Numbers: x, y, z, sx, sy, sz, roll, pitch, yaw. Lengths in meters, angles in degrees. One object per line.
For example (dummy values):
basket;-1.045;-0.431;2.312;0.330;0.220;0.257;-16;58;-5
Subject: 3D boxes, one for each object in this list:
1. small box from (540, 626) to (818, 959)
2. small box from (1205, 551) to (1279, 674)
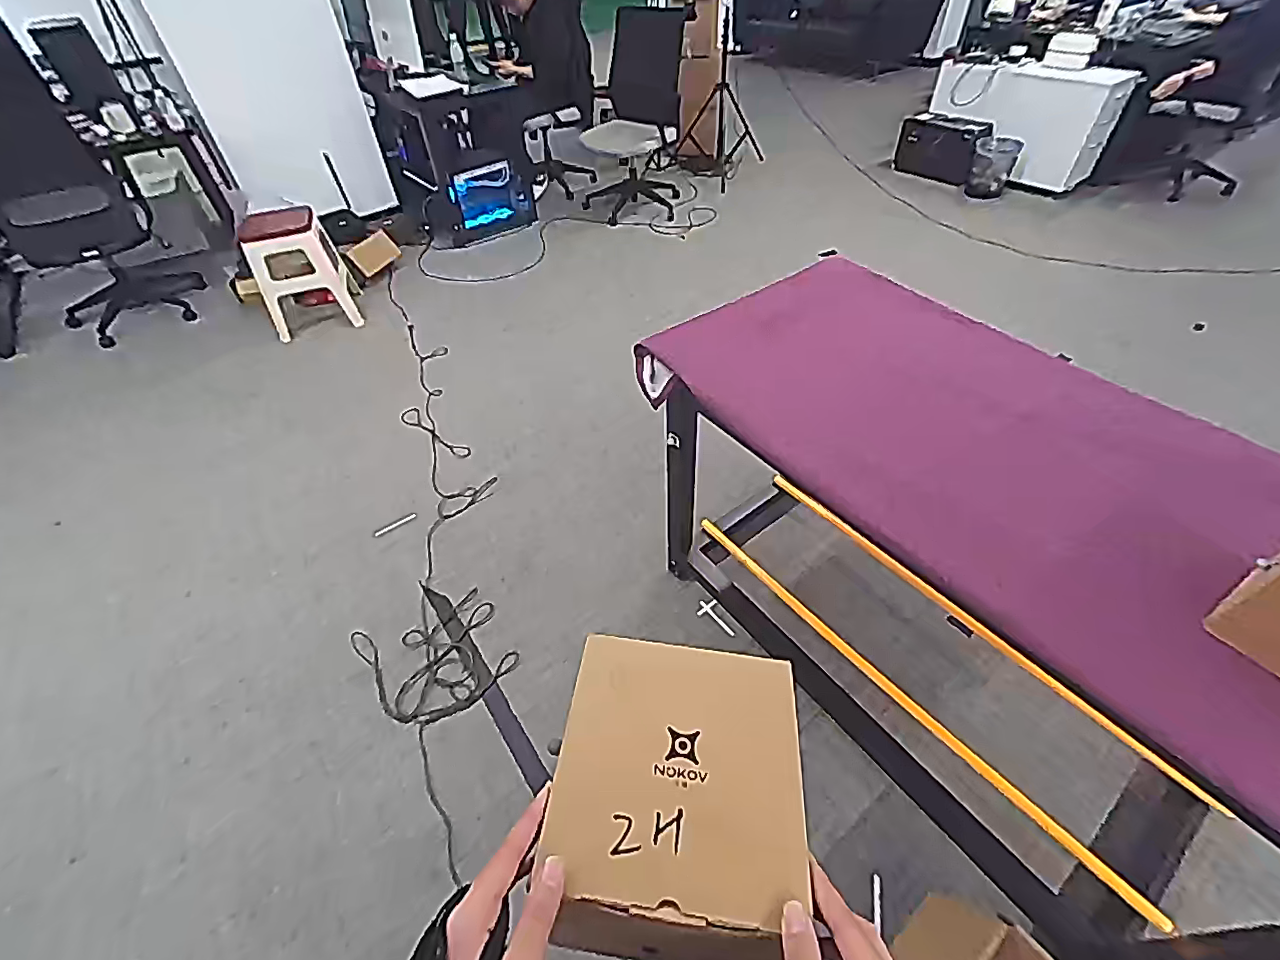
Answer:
small box;0.028;0.245;0.425;0.168;0.176;0.179;6;42;4
small box;0.813;0.145;0.596;0.168;0.176;0.179;-25;49;-21
